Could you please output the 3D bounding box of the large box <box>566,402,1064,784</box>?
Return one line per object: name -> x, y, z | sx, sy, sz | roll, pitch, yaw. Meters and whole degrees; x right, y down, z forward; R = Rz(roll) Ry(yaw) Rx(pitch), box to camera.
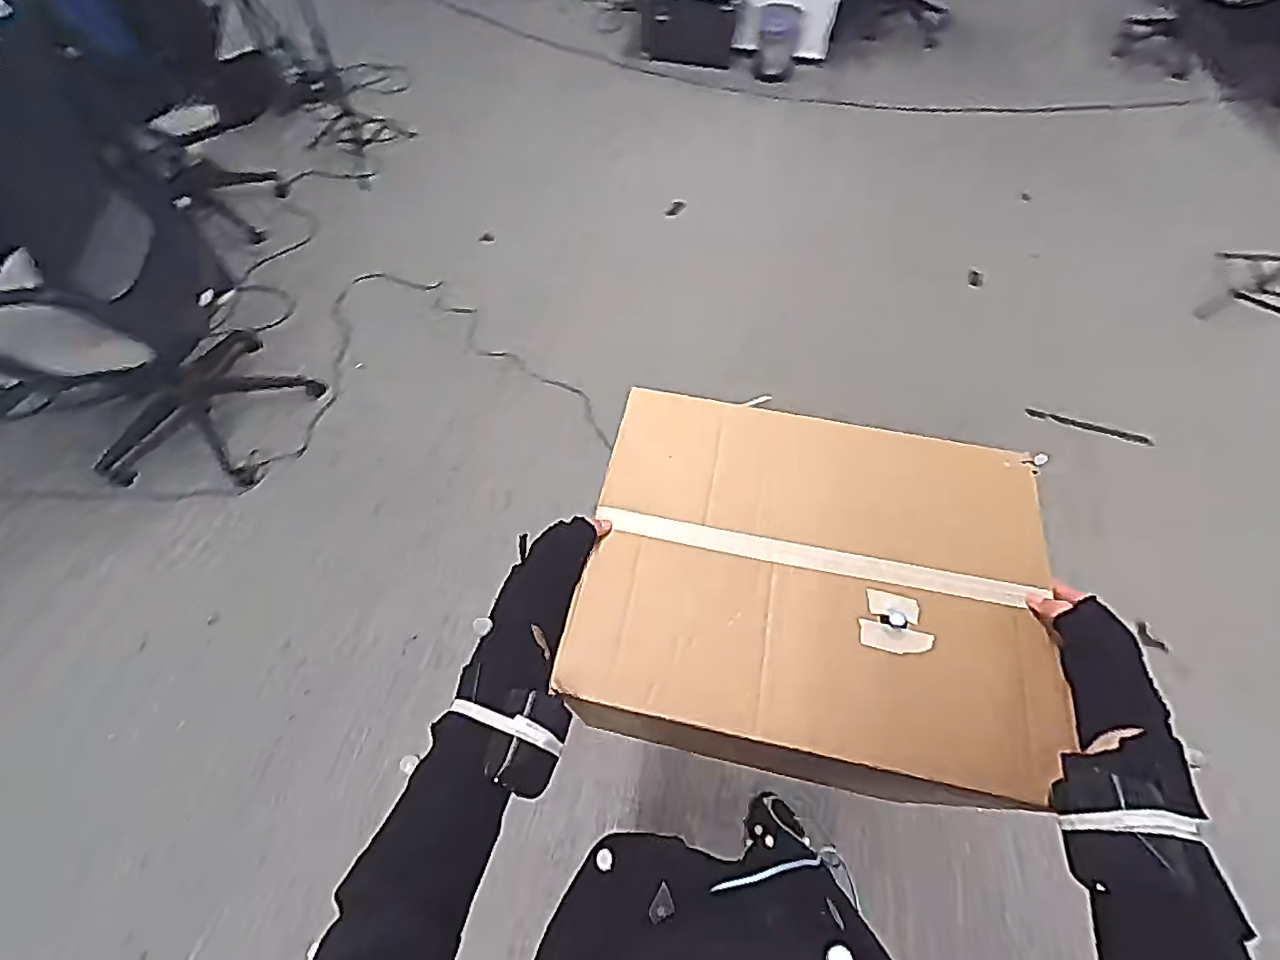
large box -> 0.154, 0.145, 0.629 | 0.408, 0.320, 0.320 | 9, 62, 5
